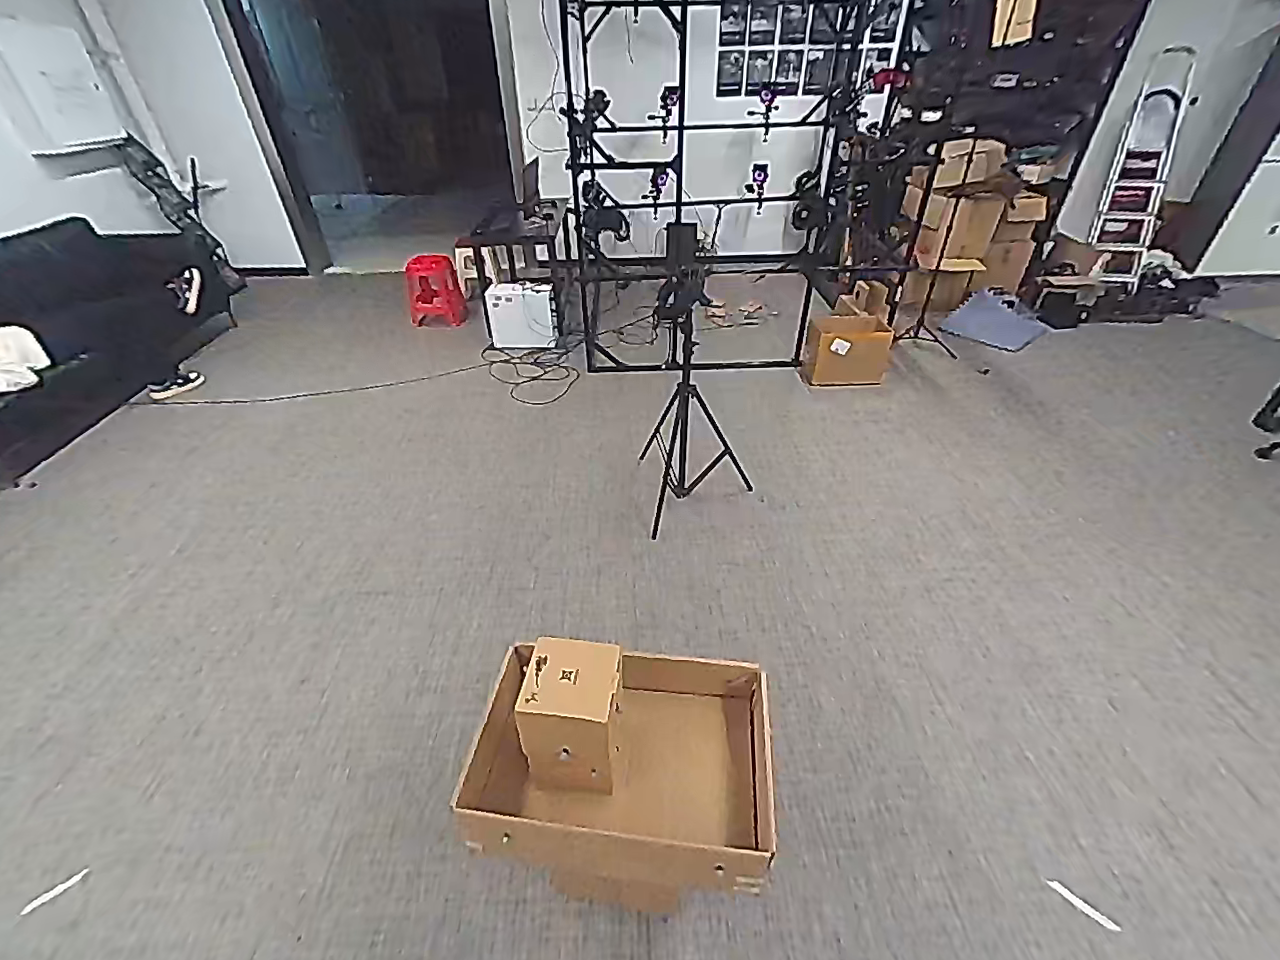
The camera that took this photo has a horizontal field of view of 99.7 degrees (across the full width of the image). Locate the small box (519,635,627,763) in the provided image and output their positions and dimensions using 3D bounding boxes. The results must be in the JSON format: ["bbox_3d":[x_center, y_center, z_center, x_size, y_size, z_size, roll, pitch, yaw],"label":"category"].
[{"bbox_3d":[-0.125,0.440,1.081,0.179,0.176,0.168,6,37,6],"label":"small box"}]
